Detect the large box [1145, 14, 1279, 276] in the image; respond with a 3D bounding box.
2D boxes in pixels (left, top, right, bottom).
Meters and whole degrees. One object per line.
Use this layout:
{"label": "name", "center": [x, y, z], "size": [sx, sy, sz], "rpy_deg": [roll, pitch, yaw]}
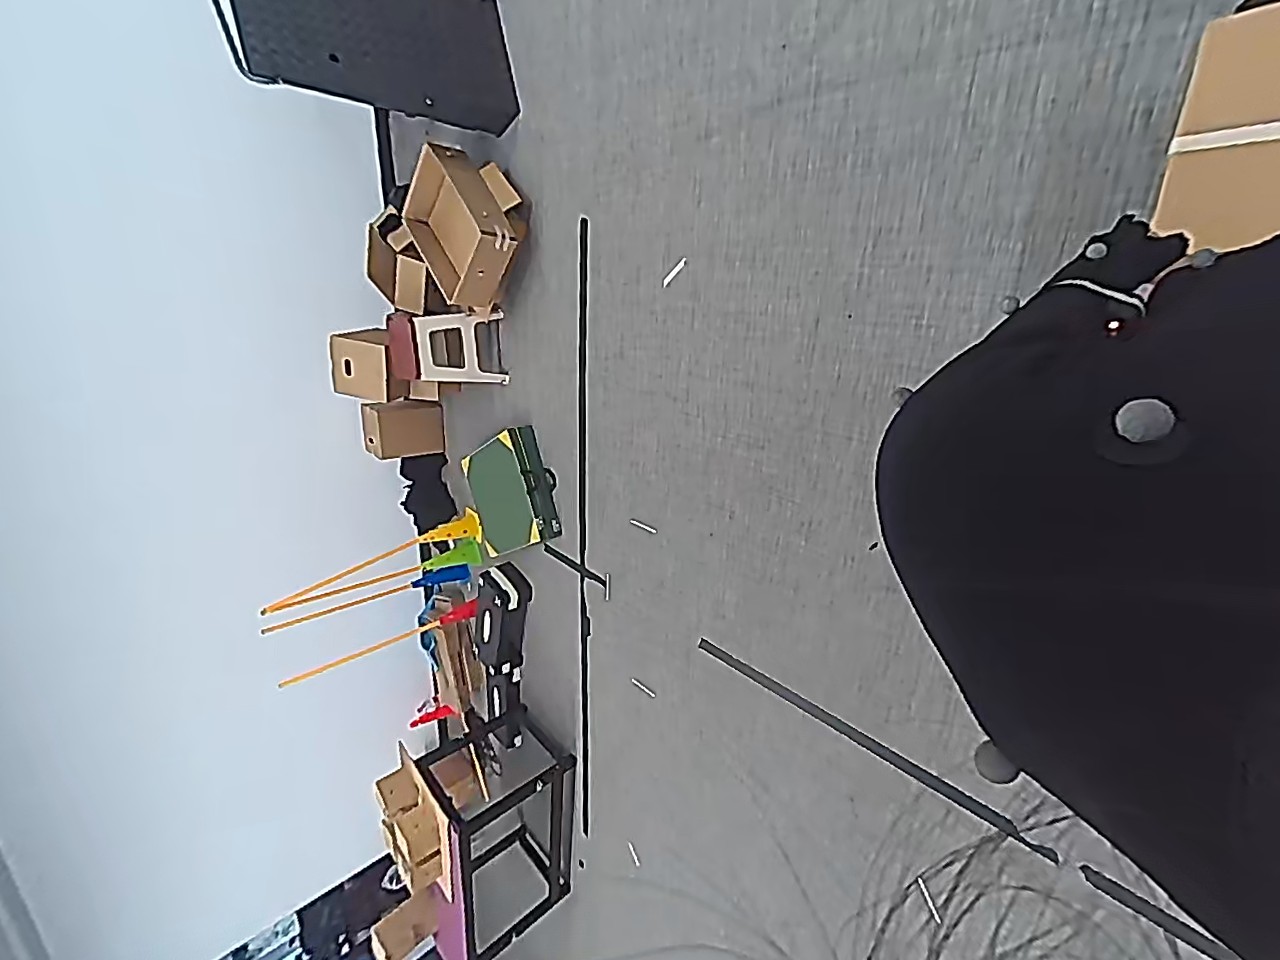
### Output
{"label": "large box", "center": [1.052, -0.481, 0.788], "size": [0.408, 0.320, 0.320], "rpy_deg": [18, 114, 43]}
